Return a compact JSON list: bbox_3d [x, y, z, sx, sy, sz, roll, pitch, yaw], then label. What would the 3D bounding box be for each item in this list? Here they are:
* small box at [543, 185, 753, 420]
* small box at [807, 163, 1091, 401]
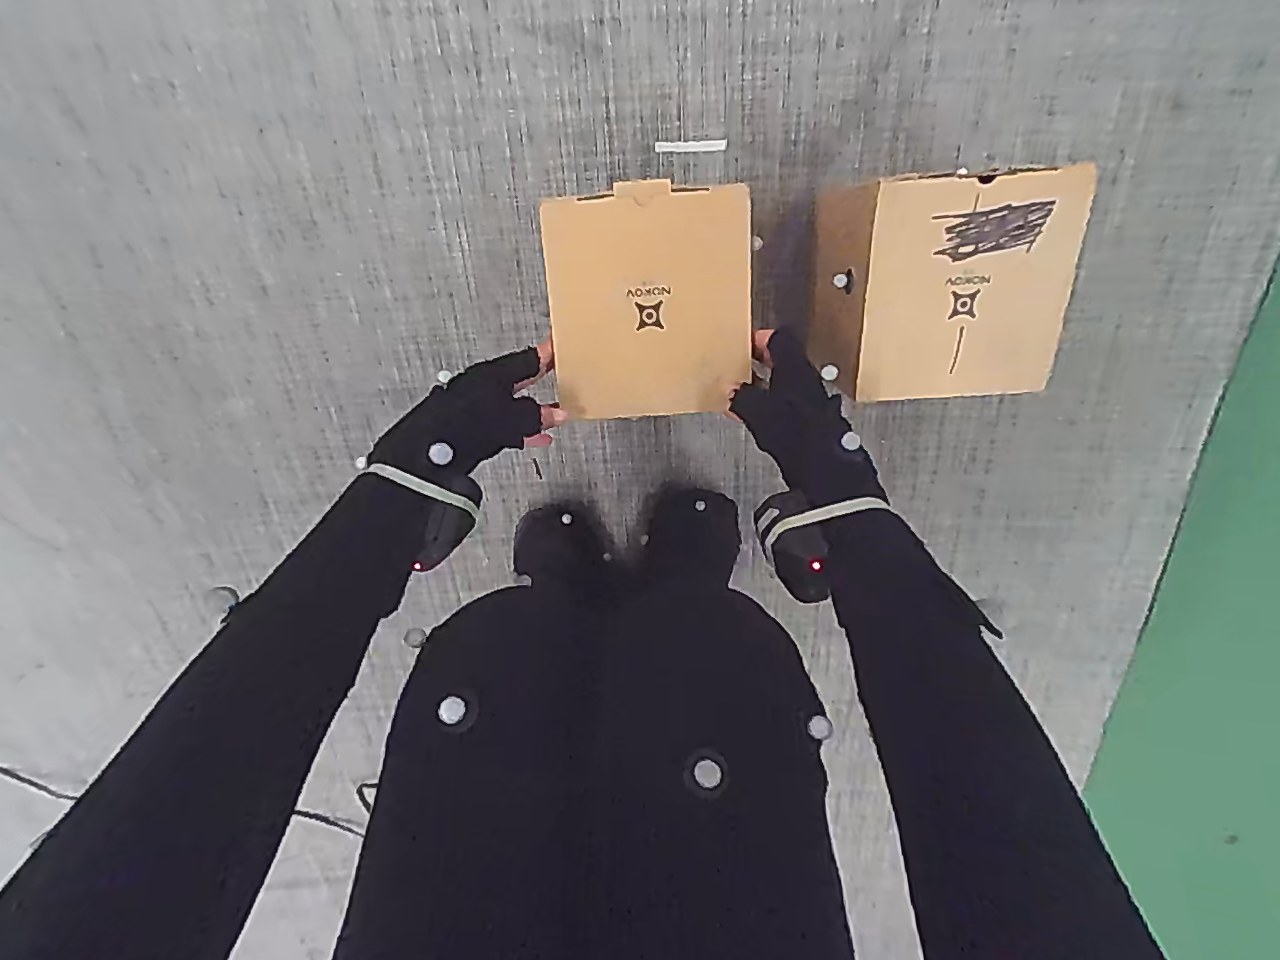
[{"bbox_3d":[0.012,-0.162,0.517,0.168,0.176,0.179,-4,105,2],"label":"small box"},{"bbox_3d":[0.266,-0.185,0.515,0.168,0.176,0.179,-4,114,2],"label":"small box"}]
